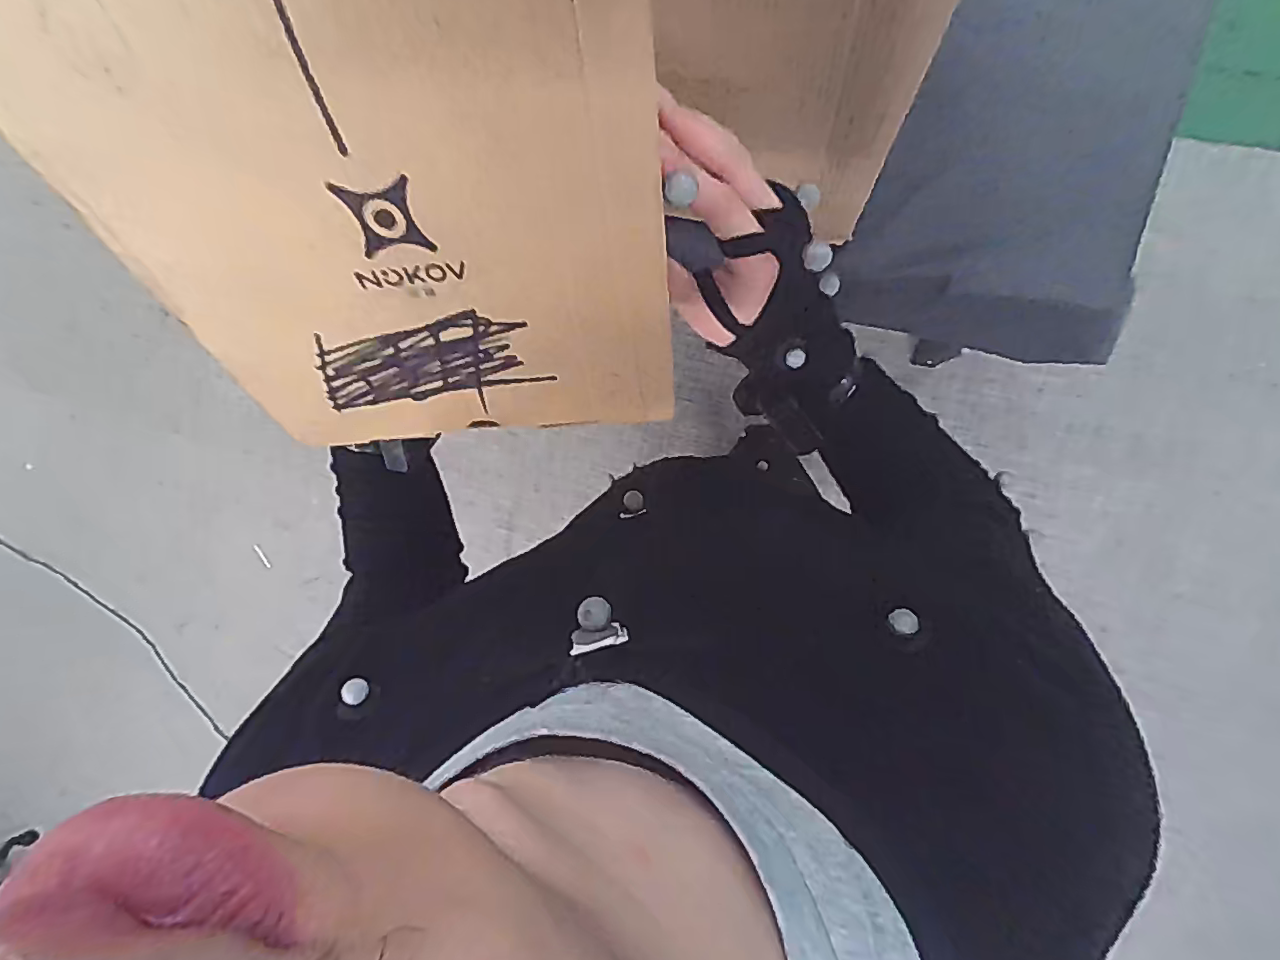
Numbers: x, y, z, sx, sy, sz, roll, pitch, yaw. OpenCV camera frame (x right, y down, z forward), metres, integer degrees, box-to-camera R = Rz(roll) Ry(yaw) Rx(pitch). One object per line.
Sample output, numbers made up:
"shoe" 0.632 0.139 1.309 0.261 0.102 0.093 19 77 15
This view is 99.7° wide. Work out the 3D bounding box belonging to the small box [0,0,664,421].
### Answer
"small box" -0.076 -0.144 0.206 0.168 0.179 0.176 -3 54 3
